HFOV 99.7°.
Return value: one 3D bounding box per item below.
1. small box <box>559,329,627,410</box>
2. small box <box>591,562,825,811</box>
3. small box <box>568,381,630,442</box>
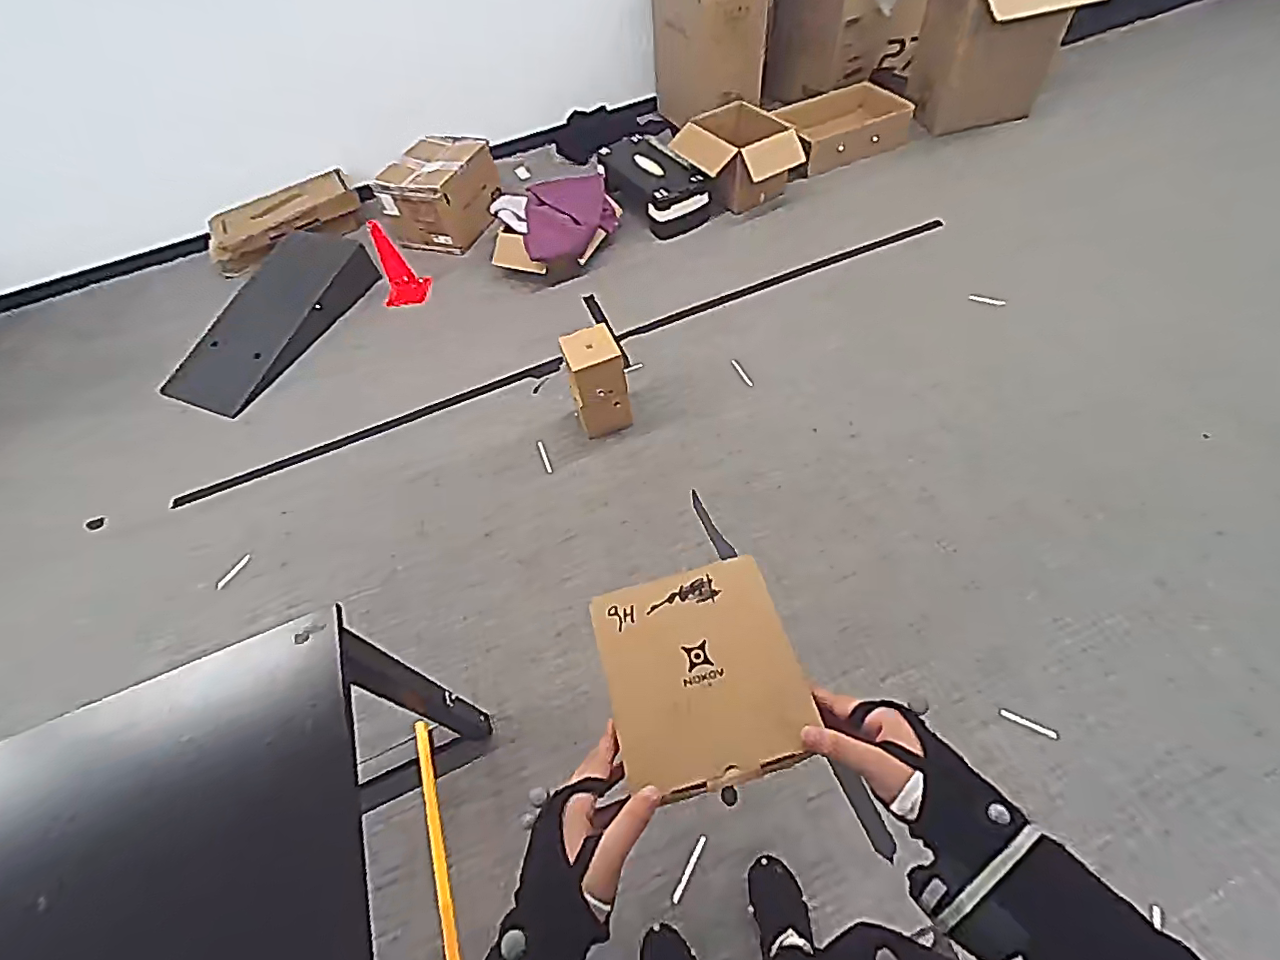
[{"bbox_3d":[-0.154,-0.367,1.808,0.168,0.176,0.179,-22,56,-6],"label":"small box"},{"bbox_3d":[0.060,0.210,0.543,0.168,0.176,0.179,-15,59,-4],"label":"small box"},{"bbox_3d":[-0.140,-0.268,1.937,0.179,0.176,0.168,-20,55,-6],"label":"small box"}]
